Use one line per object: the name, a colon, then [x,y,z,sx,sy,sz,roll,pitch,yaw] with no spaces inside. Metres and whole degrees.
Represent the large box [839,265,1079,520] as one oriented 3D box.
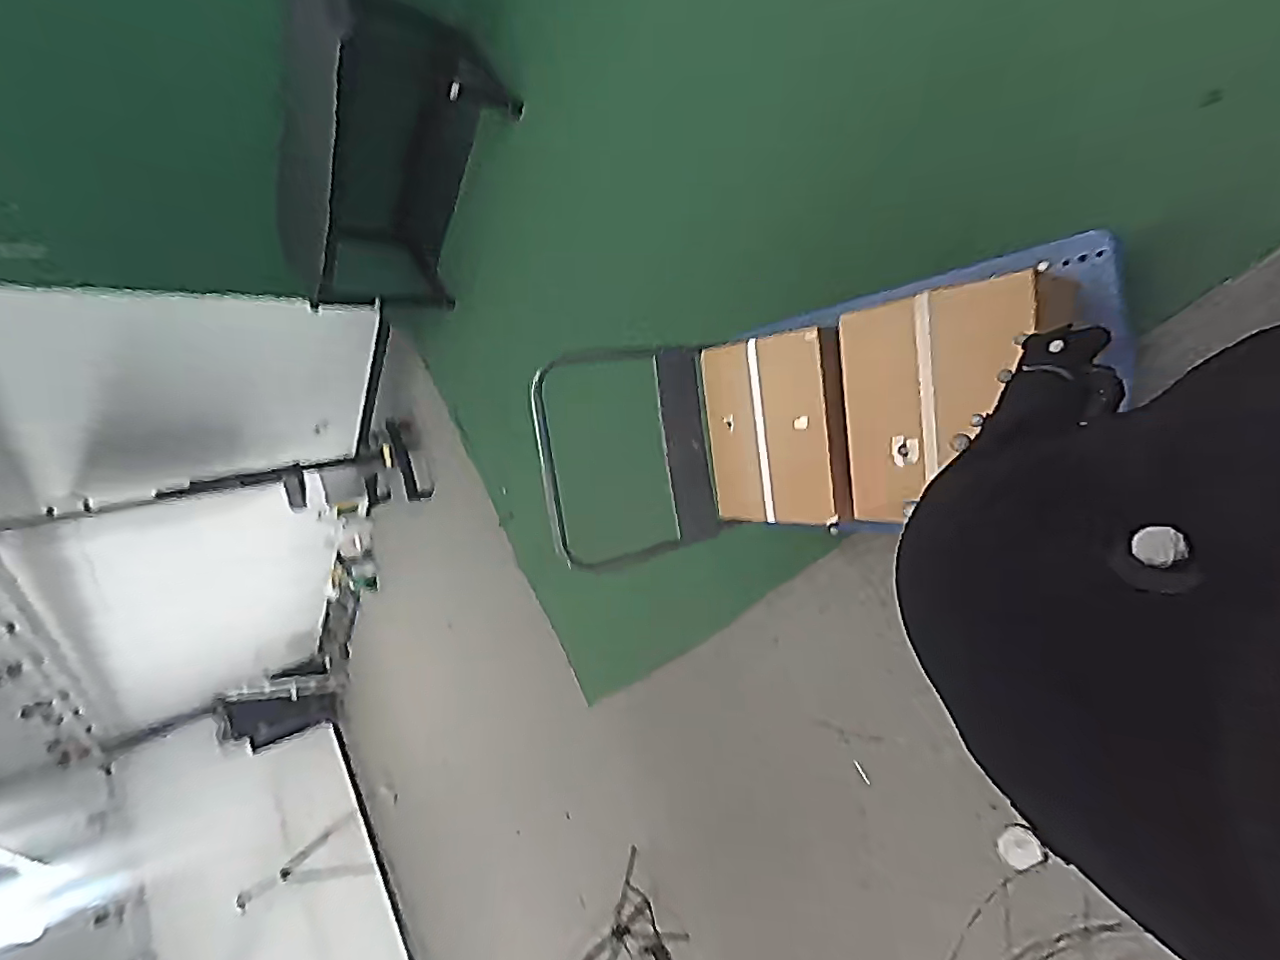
large box: [0.620,-0.157,1.042,0.320,0.320,0.408,0,101,48]
